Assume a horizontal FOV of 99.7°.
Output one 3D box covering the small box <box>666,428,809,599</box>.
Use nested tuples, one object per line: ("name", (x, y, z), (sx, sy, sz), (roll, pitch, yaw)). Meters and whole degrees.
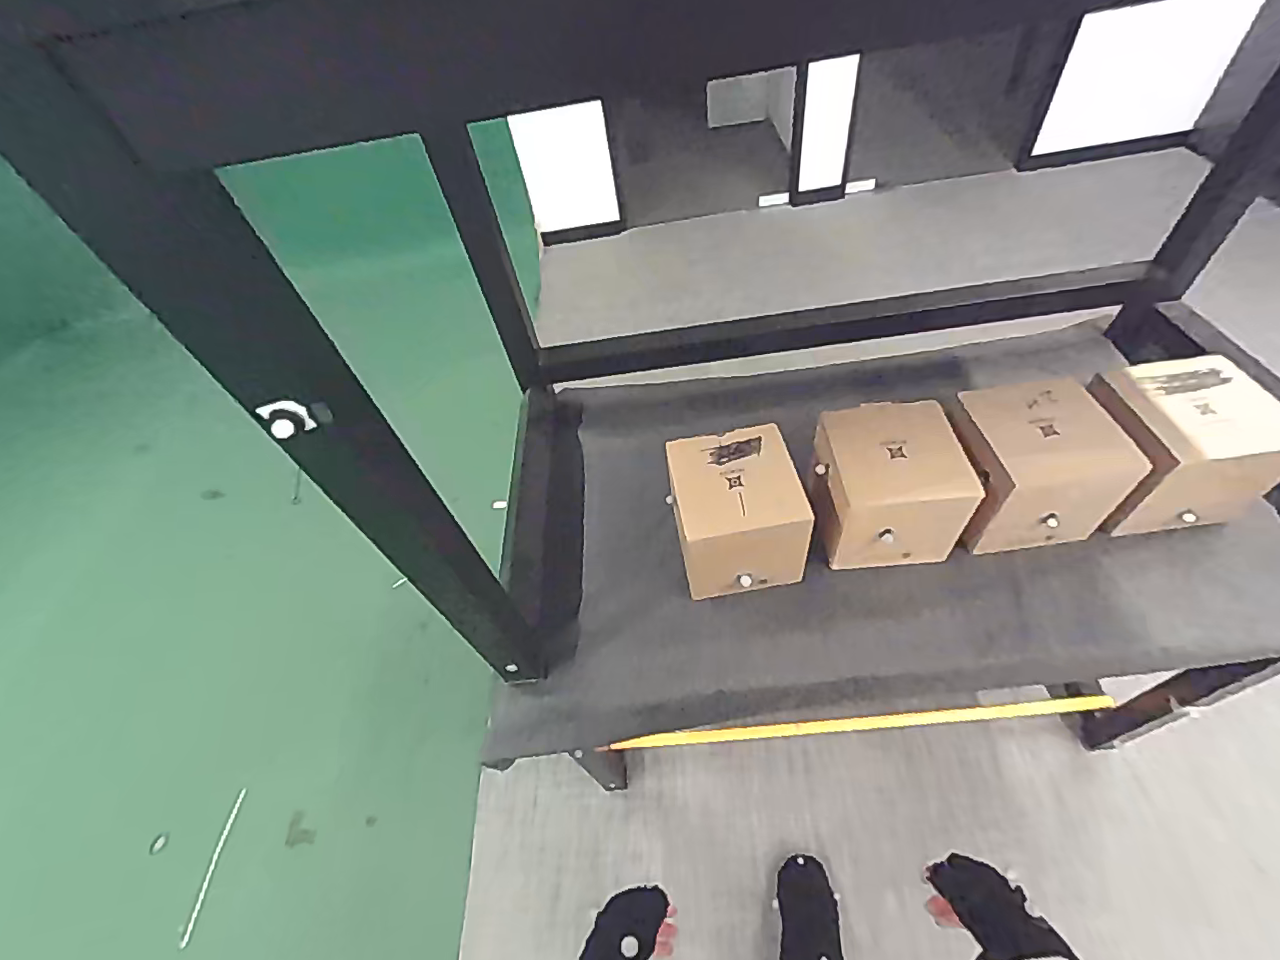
("small box", (0.136, 0.052, 0.804), (0.168, 0.176, 0.179), (-11, 51, 1))
